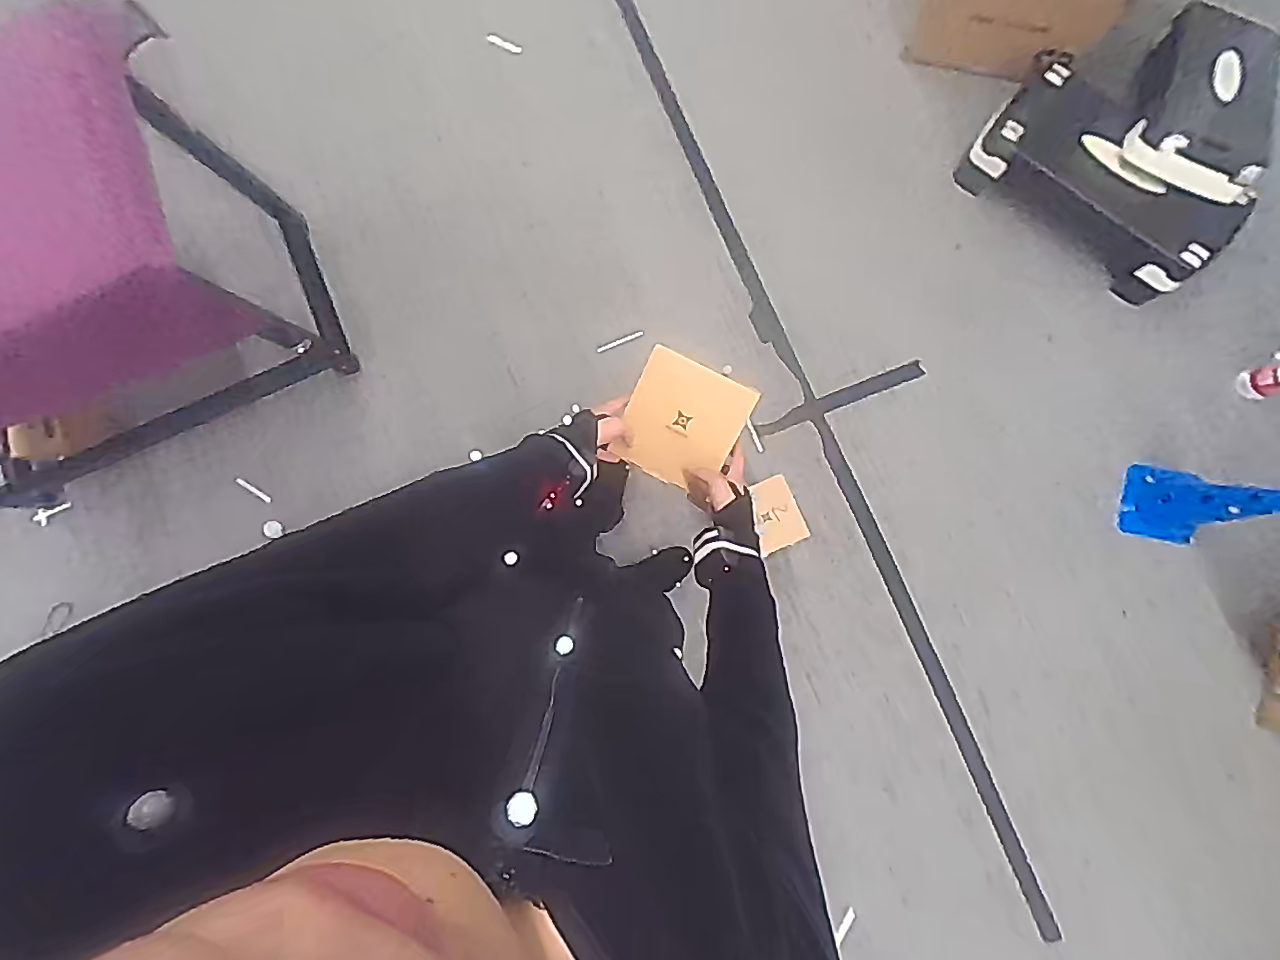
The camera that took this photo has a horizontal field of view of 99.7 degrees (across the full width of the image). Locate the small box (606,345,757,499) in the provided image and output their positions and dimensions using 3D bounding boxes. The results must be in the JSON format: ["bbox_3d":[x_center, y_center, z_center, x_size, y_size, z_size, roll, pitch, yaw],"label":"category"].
[{"bbox_3d":[0.068,-0.098,0.855,0.168,0.176,0.179,27,106,4],"label":"small box"}]

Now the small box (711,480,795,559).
[{"bbox_3d":[0.312,0.109,1.535,0.179,0.176,0.168,-25,85,3],"label":"small box"}]
